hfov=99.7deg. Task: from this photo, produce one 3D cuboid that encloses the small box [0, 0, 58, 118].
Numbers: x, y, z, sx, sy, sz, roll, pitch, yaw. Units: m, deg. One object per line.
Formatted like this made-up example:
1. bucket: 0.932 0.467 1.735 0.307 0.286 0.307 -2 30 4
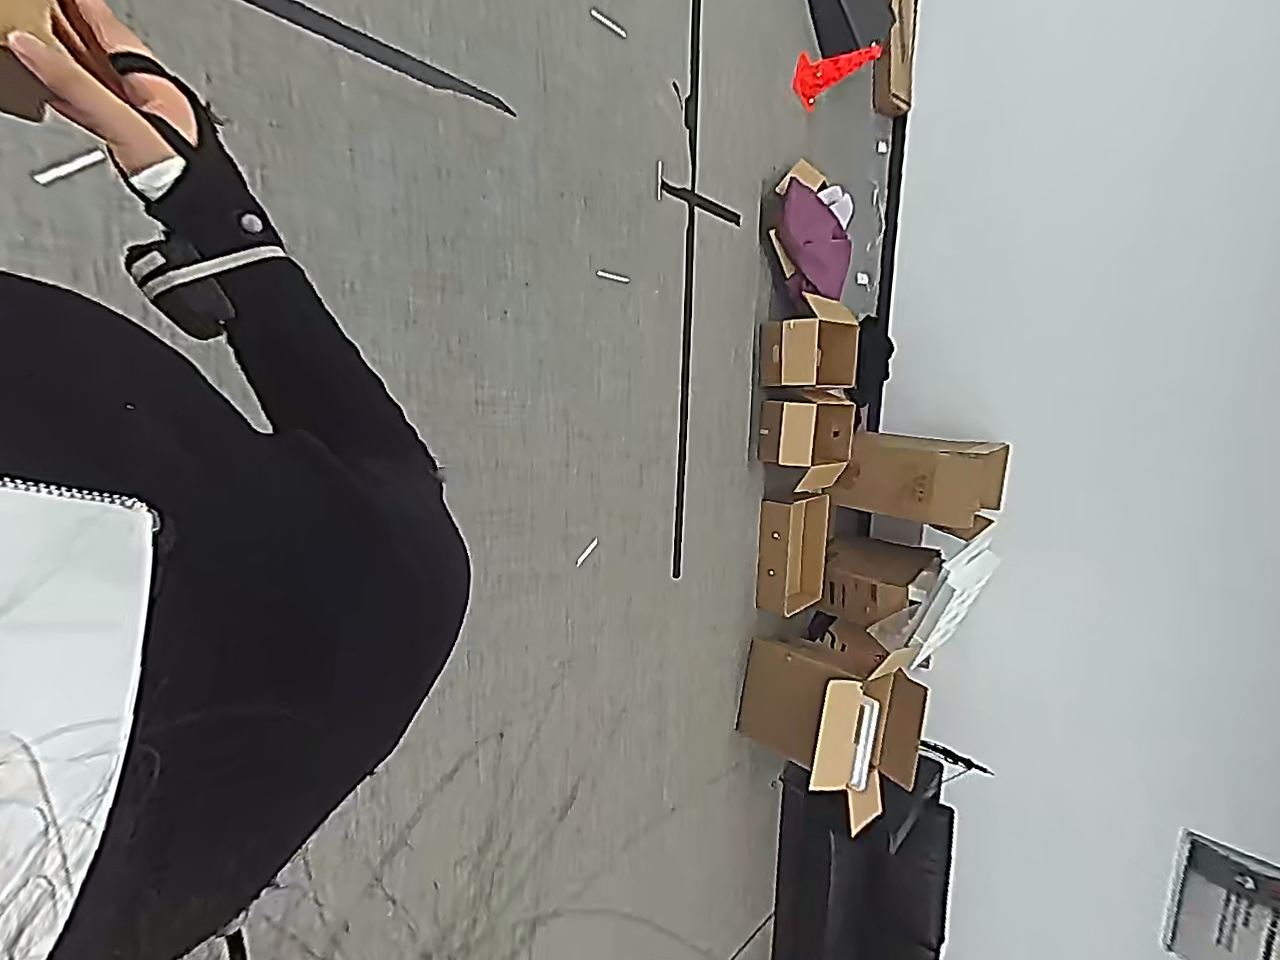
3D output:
1. small box: -0.450 -0.345 0.300 0.168 0.176 0.179 -2 103 -49
